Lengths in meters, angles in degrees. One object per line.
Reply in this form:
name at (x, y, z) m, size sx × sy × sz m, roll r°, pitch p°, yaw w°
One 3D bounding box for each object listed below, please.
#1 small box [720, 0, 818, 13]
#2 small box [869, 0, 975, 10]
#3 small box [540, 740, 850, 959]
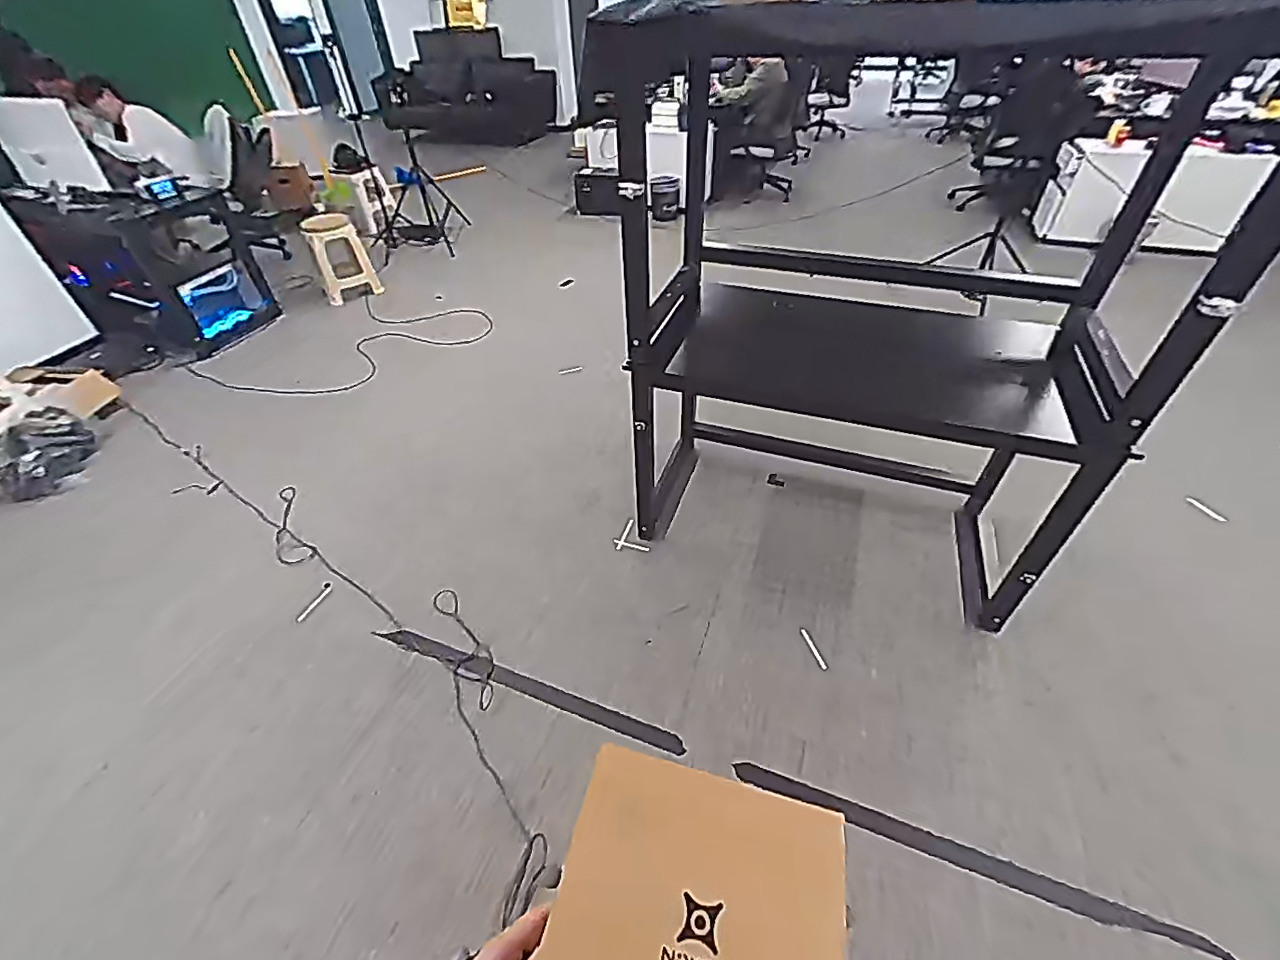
small box at (0.240, -0.937, 0.949) m, size 0.168 × 0.176 × 0.179 m, roll 12°, pitch 42°, yaw 13°
small box at (0.482, -0.885, 0.884) m, size 0.168 × 0.176 × 0.179 m, roll 12°, pitch 43°, yaw 16°
small box at (0.028, 0.310, 0.356) m, size 0.168 × 0.176 × 0.179 m, roll 13°, pitch 46°, yaw 8°
